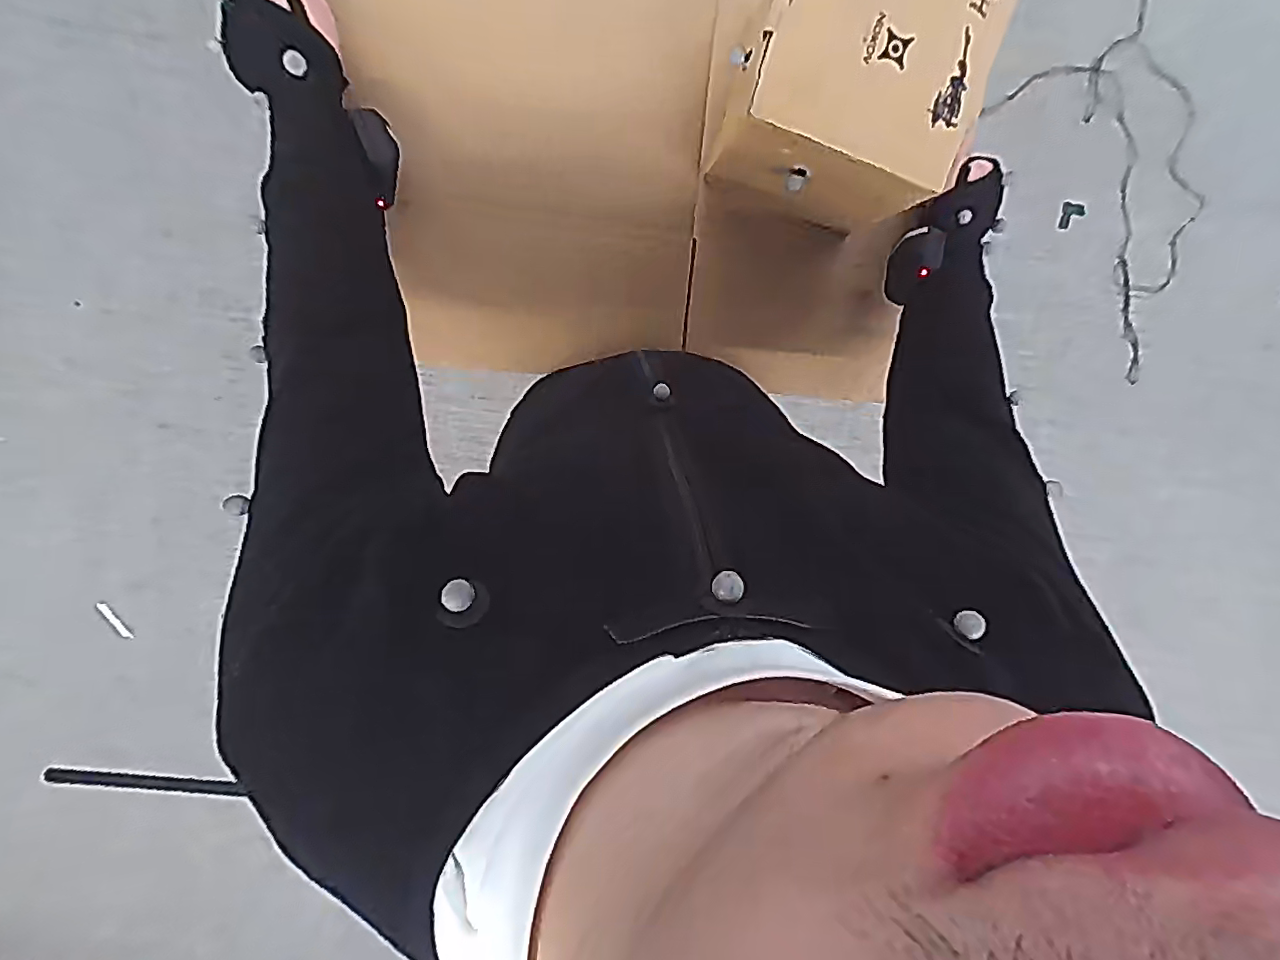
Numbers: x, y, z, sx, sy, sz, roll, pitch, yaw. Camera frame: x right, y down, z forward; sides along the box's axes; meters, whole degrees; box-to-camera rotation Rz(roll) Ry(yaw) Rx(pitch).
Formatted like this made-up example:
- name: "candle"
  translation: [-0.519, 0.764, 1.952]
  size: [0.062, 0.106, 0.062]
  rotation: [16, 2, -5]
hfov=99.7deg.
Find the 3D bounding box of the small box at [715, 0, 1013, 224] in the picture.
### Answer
- name: "small box"
  translation: [0.184, -0.358, 0.497]
  size: [0.179, 0.176, 0.168]
  rotation: [16, 102, -8]
